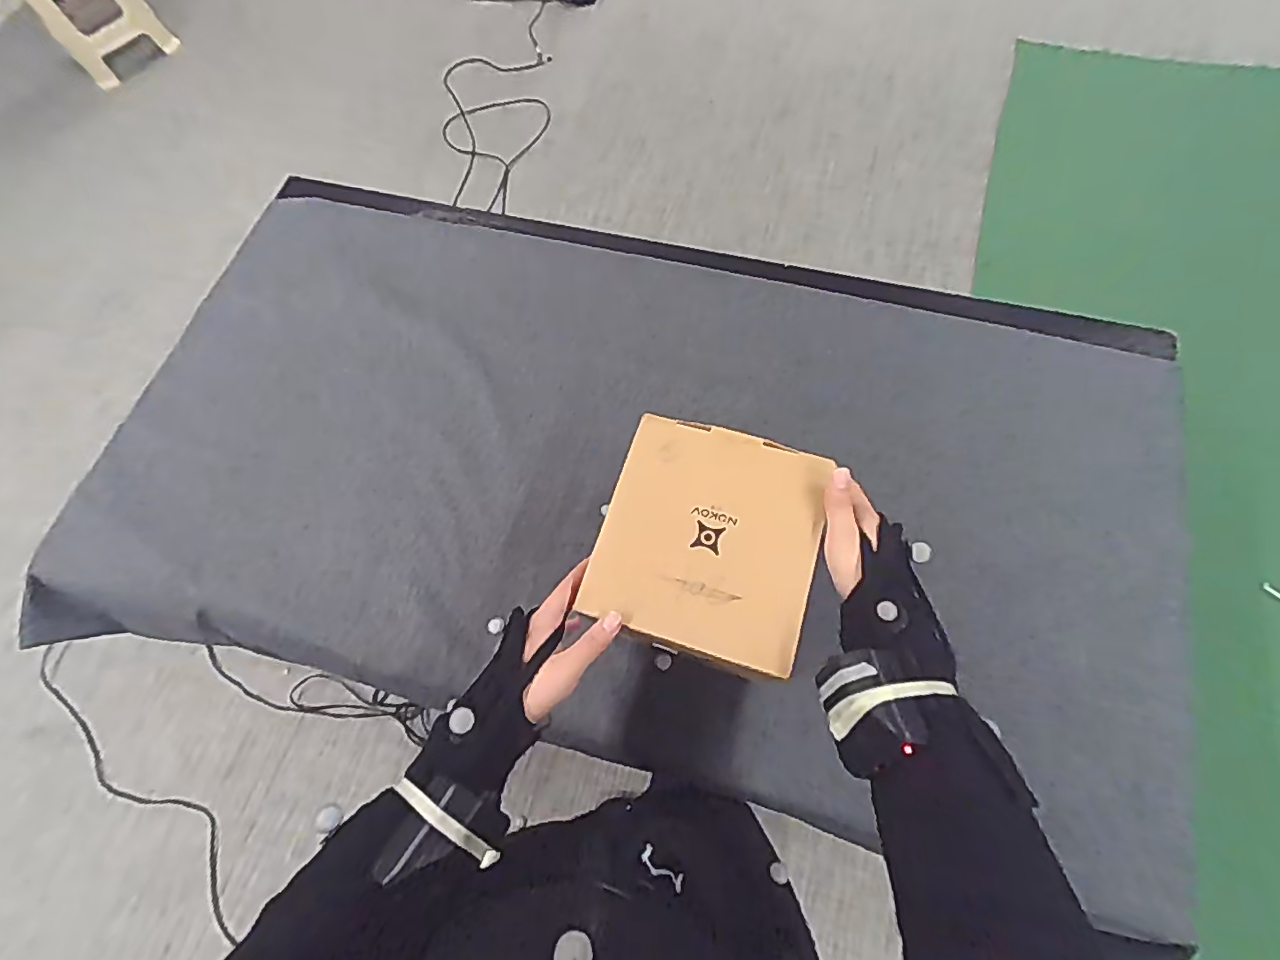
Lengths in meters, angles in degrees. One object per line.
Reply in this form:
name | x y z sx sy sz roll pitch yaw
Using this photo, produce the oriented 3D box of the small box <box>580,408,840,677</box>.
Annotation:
small box | 0.063 0.065 0.486 0.168 0.176 0.179 14 72 11
